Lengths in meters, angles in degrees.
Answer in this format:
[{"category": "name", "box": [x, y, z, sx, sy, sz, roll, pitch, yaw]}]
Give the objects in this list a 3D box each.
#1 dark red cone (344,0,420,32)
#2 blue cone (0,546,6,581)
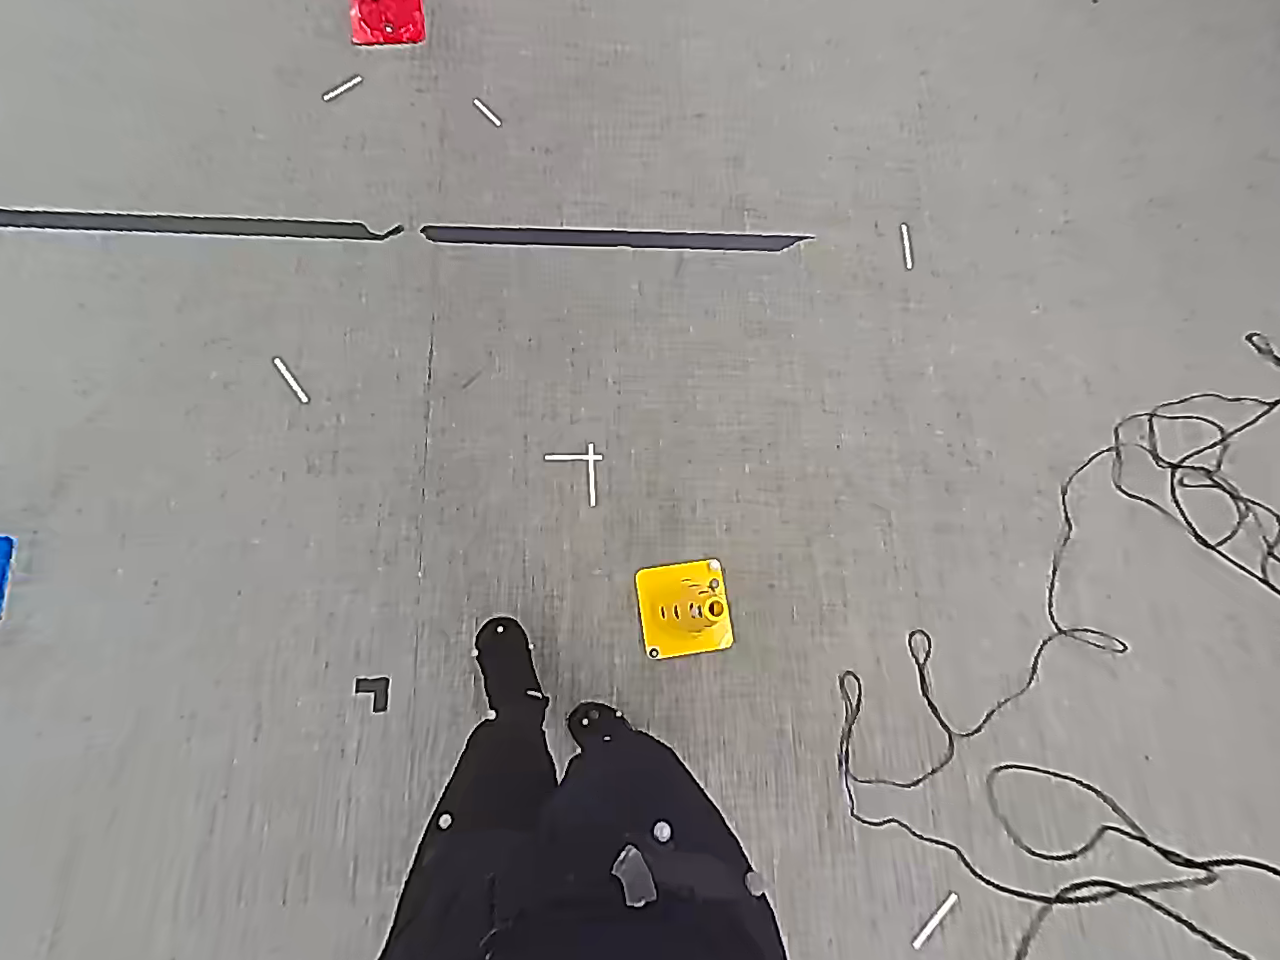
[{"category": "dark red cone", "box": [-0.711, -1.370, 1.353, 0.202, 0.394, 0.201, -8, 79, -5]}, {"category": "blue cone", "box": [-1.431, 0.191, 0.974, 0.193, 0.380, 0.192, 0, 78, -4]}]
